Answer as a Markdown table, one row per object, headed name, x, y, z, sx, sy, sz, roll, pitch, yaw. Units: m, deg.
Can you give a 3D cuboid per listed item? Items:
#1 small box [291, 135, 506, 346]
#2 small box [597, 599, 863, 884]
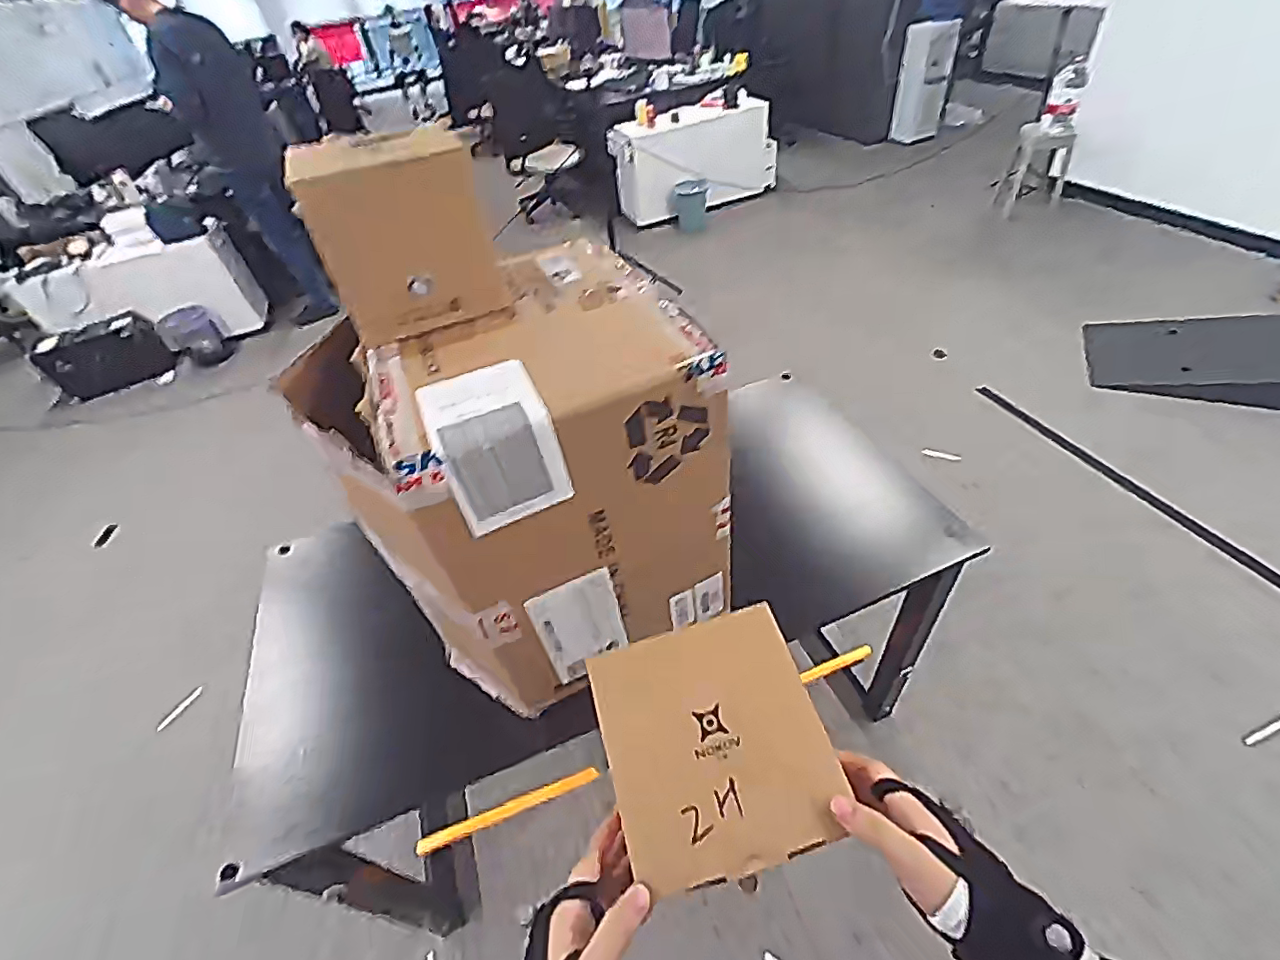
| name | x | y | z | sx | sy | sz | roll | pitch | yaw |
| --- | --- | --- | --- | --- | --- | --- | --- | --- | --- |
| small box | -0.271 | -0.278 | 0.623 | 0.168 | 0.176 | 0.179 | -23 | 44 | -15 |
| small box | 0.066 | 0.239 | 0.488 | 0.168 | 0.176 | 0.179 | -15 | 54 | -4 |
